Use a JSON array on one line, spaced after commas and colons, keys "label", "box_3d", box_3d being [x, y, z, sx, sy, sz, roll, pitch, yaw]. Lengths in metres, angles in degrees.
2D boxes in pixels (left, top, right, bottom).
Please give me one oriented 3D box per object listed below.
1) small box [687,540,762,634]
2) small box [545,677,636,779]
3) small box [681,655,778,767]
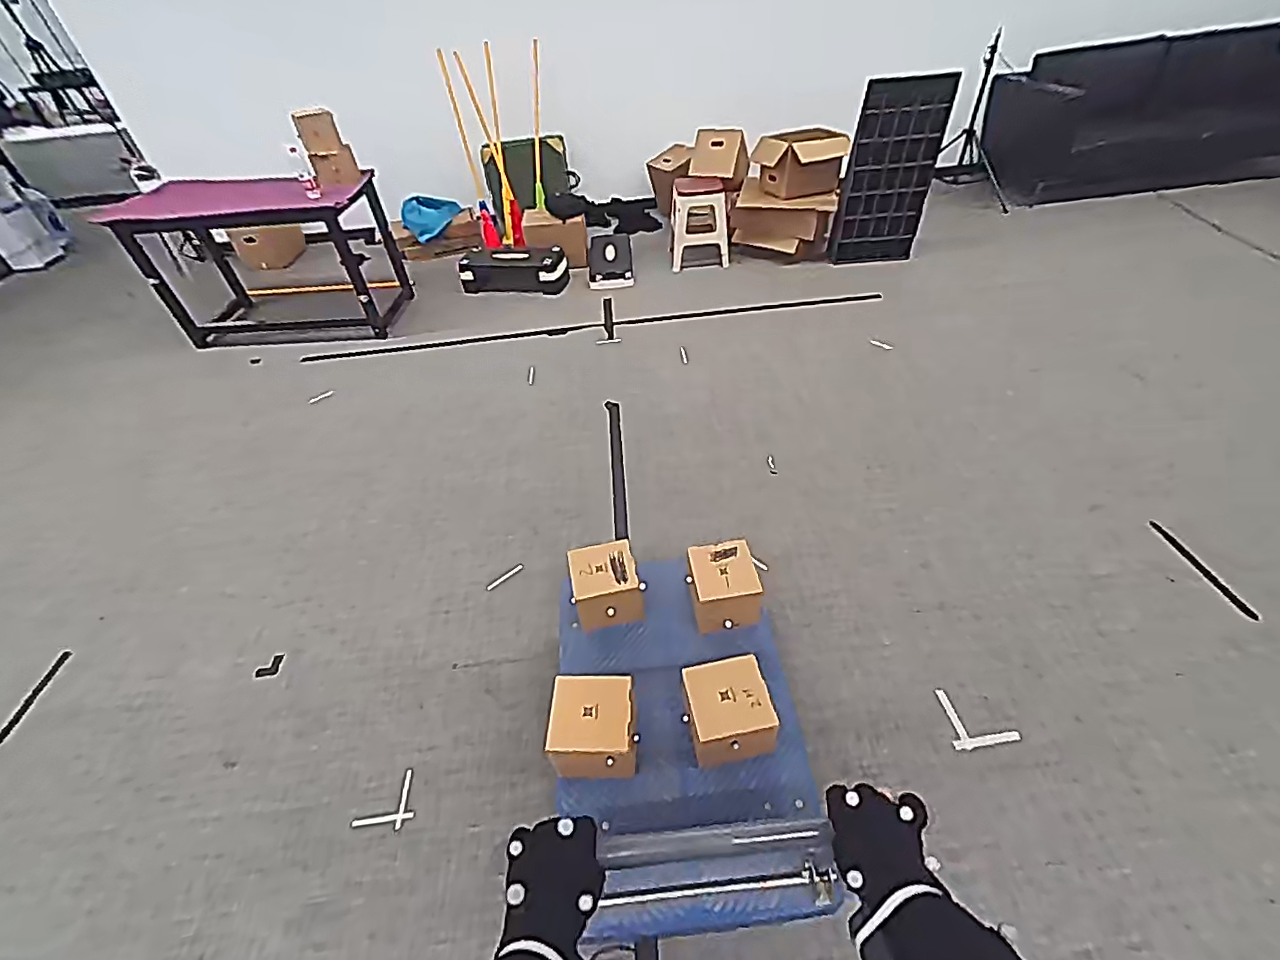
[{"label": "small box", "box_3d": [0.222, 0.292, 1.472, 0.168, 0.176, 0.179, -9, 45, -2]}, {"label": "small box", "box_3d": [-0.104, 0.564, 1.227, 0.179, 0.176, 0.168, -1, 43, 3]}, {"label": "small box", "box_3d": [0.198, 0.529, 1.230, 0.179, 0.176, 0.168, -10, 44, -5]}]
